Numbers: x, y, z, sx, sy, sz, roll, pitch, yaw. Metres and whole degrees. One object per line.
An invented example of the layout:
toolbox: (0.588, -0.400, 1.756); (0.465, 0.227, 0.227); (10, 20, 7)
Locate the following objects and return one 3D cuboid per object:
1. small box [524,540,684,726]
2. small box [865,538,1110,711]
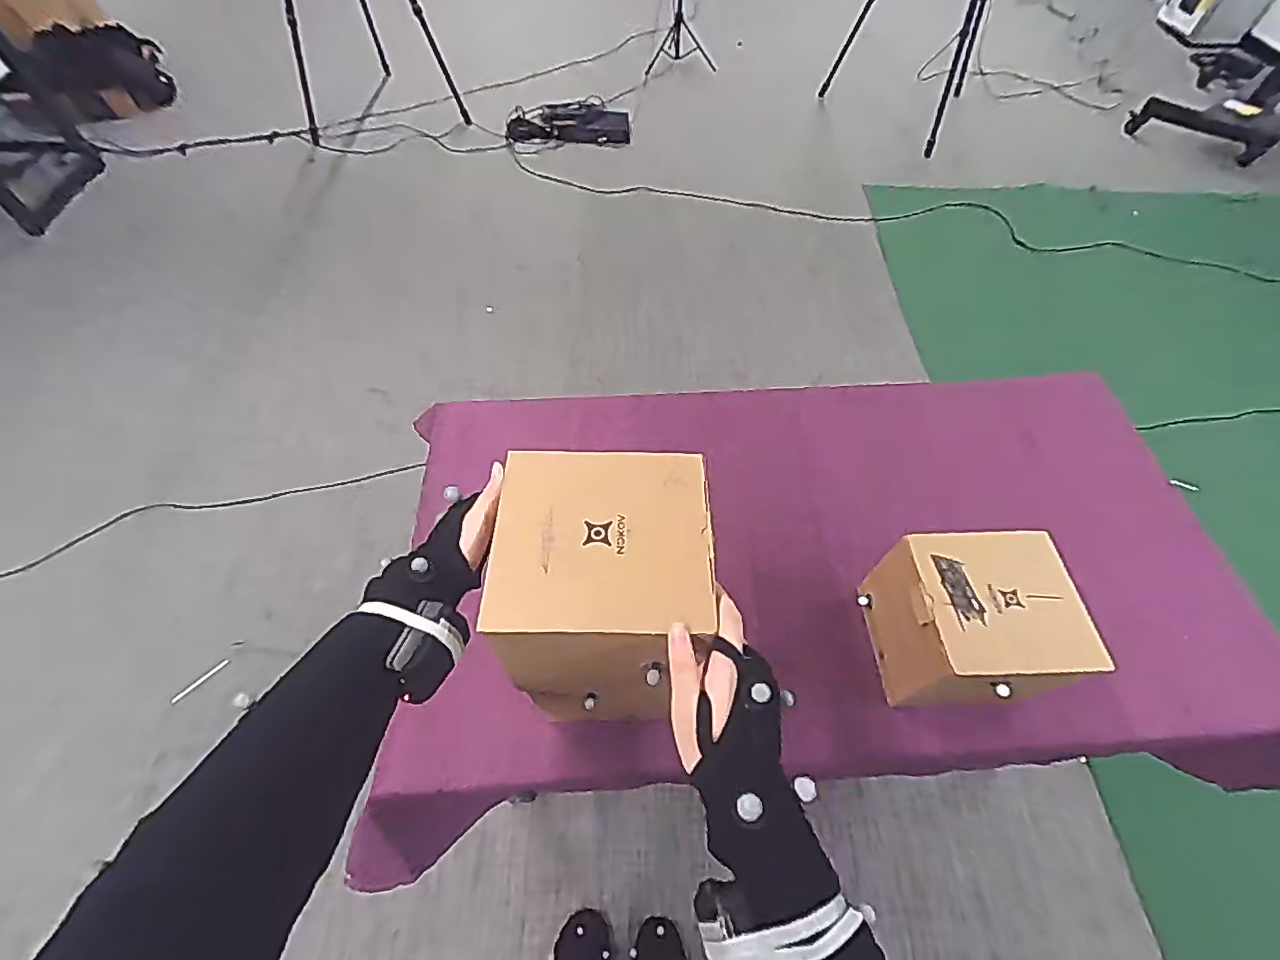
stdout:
small box: (-0.037, 0.189, 0.658); (0.168, 0.176, 0.179); (-1, 56, -1)
small box: (0.399, 0.183, 0.666); (0.179, 0.176, 0.168); (-1, 57, -2)
